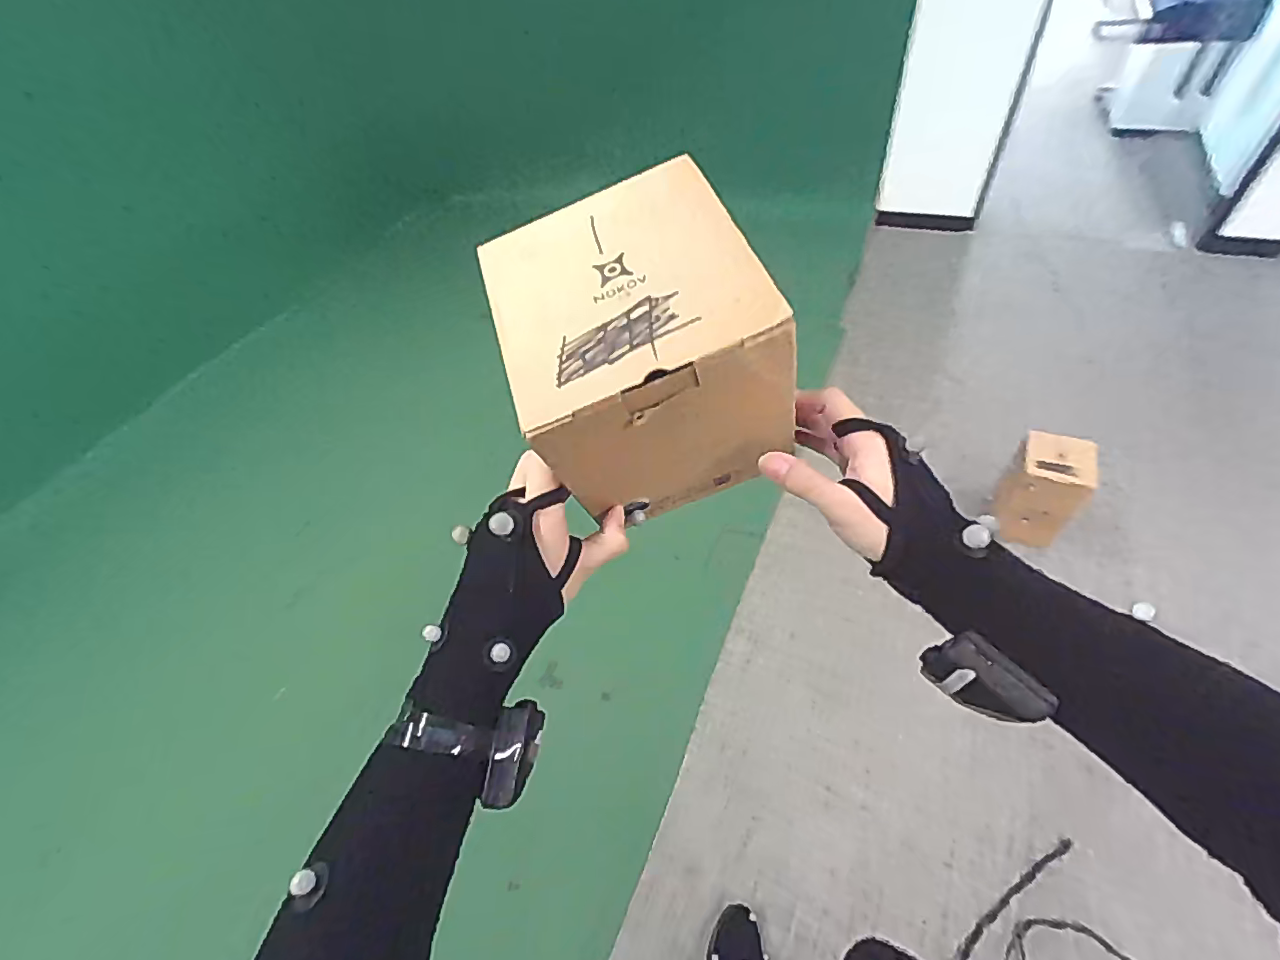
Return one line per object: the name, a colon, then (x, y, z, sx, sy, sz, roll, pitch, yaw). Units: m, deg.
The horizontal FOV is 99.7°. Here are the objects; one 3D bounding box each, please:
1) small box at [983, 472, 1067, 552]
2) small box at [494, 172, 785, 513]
small box: (1.206, 0.104, 1.702, 0.179, 0.176, 0.168, 16, 56, 21)
small box: (0.007, -0.091, 0.428, 0.168, 0.176, 0.179, -21, 60, 4)
